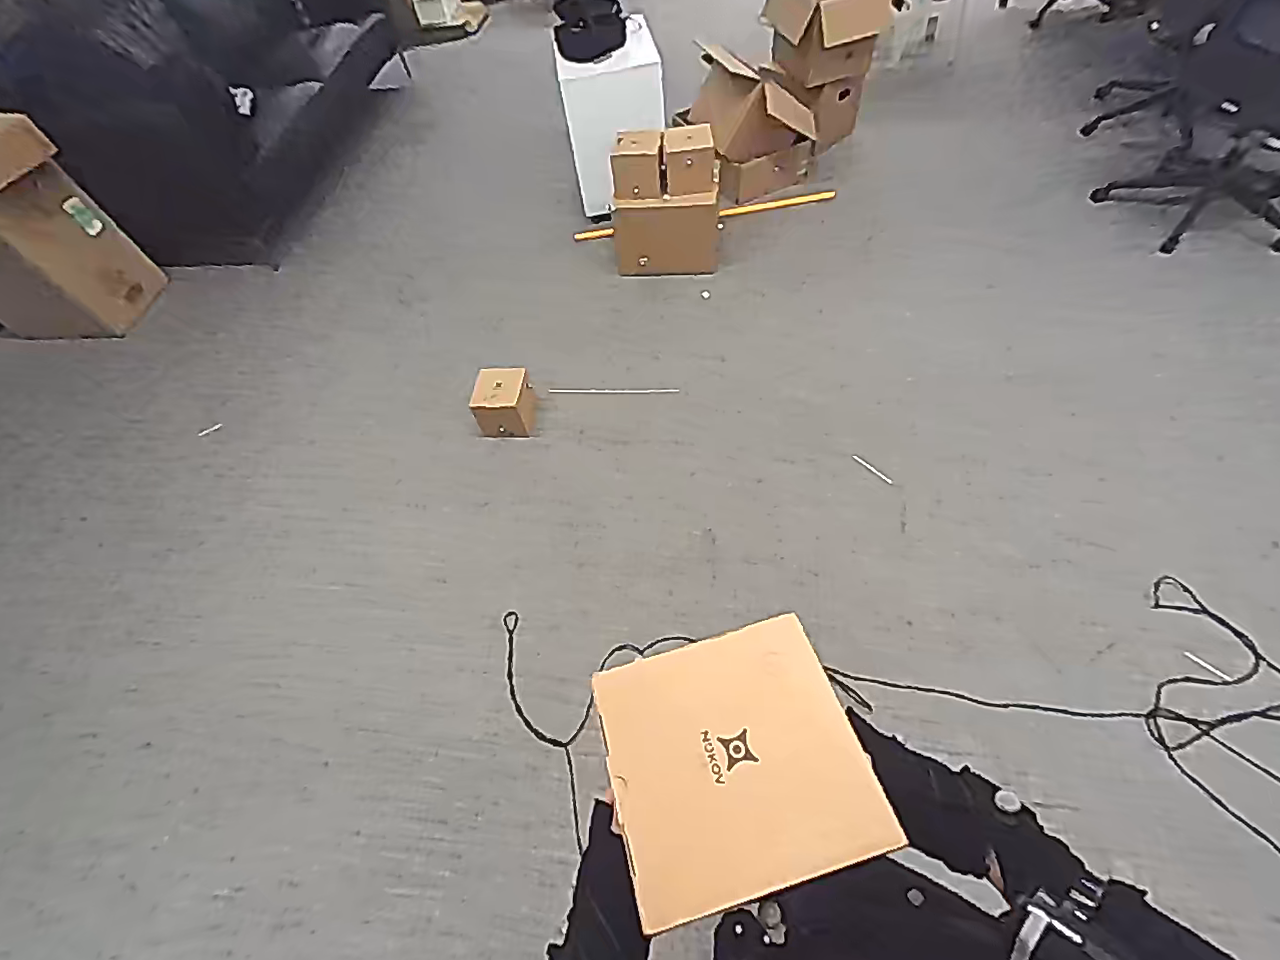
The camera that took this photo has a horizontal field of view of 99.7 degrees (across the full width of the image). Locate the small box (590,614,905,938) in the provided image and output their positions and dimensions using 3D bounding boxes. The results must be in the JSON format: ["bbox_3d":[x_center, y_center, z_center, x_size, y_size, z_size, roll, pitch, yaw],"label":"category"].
[{"bbox_3d":[0.073,0.237,0.440,0.179,0.176,0.168,-17,52,-3],"label":"small box"}]

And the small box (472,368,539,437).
[{"bbox_3d":[-0.458,-0.269,1.877,0.168,0.176,0.179,1,57,8],"label":"small box"}]
